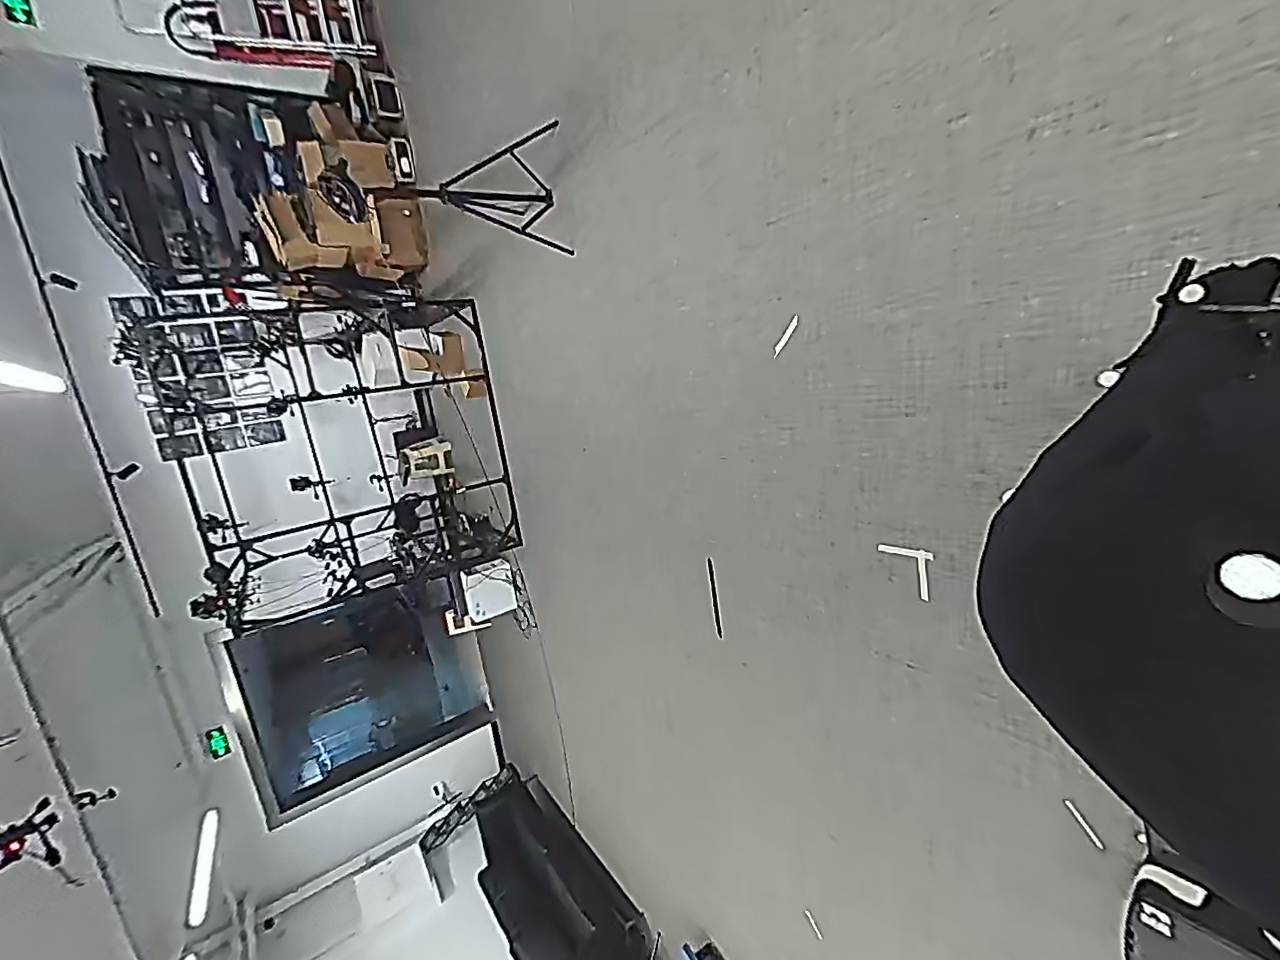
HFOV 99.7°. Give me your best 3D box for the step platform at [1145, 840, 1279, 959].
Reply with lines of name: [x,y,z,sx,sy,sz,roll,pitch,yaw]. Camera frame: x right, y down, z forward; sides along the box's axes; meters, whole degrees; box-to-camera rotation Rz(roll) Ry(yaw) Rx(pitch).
step platform: [1.356,0.994,0.951,0.684,0.204,0.286,8,110,57]
